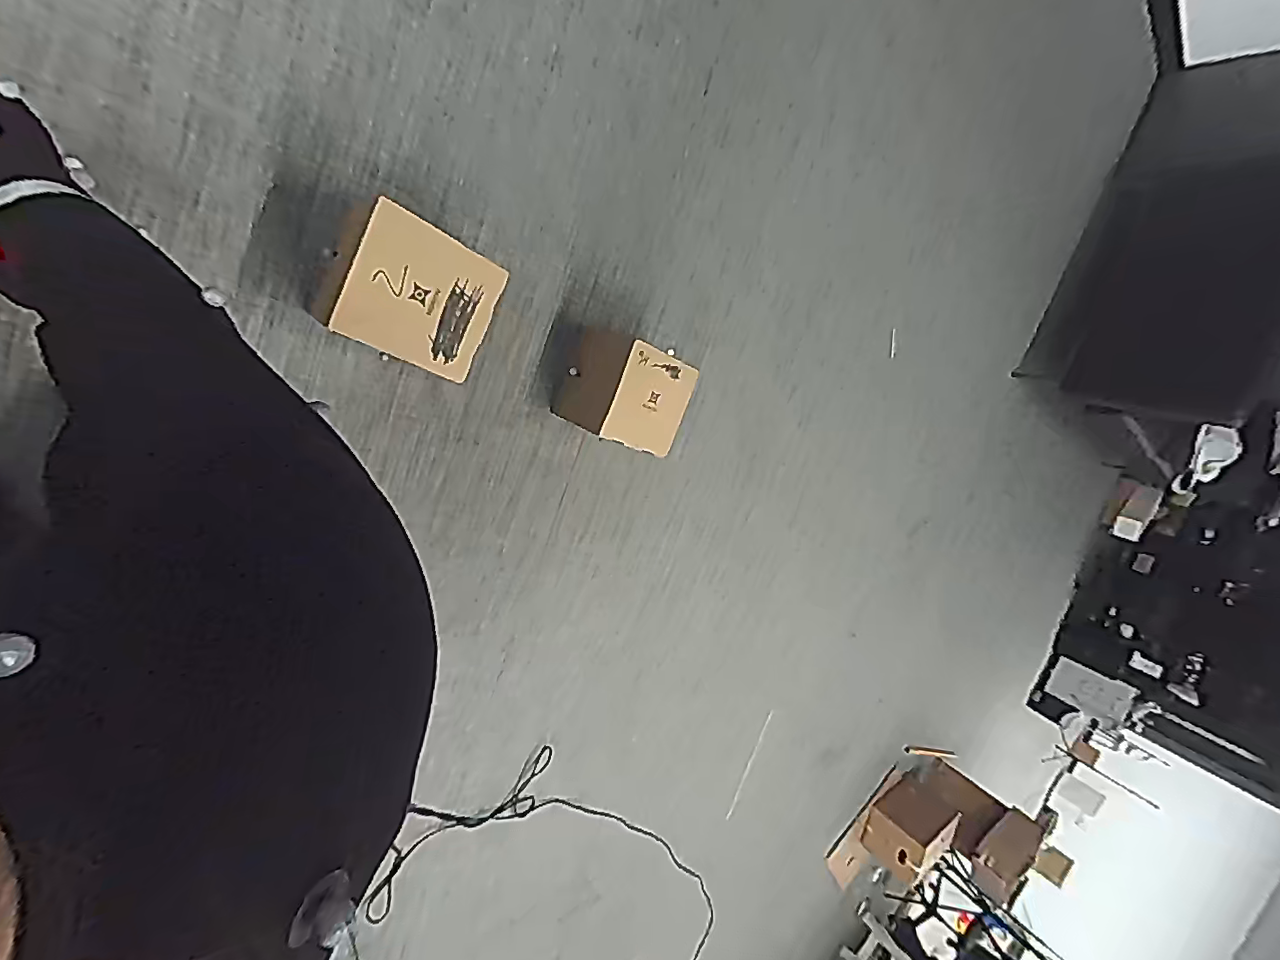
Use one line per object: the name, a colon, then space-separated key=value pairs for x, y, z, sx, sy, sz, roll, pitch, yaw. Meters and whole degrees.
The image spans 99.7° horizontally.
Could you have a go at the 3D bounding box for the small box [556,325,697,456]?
small box: x=-0.032 y=-0.167 z=0.999 sx=0.168 sy=0.176 sz=0.179 roll=16 pitch=99 yaw=-42
